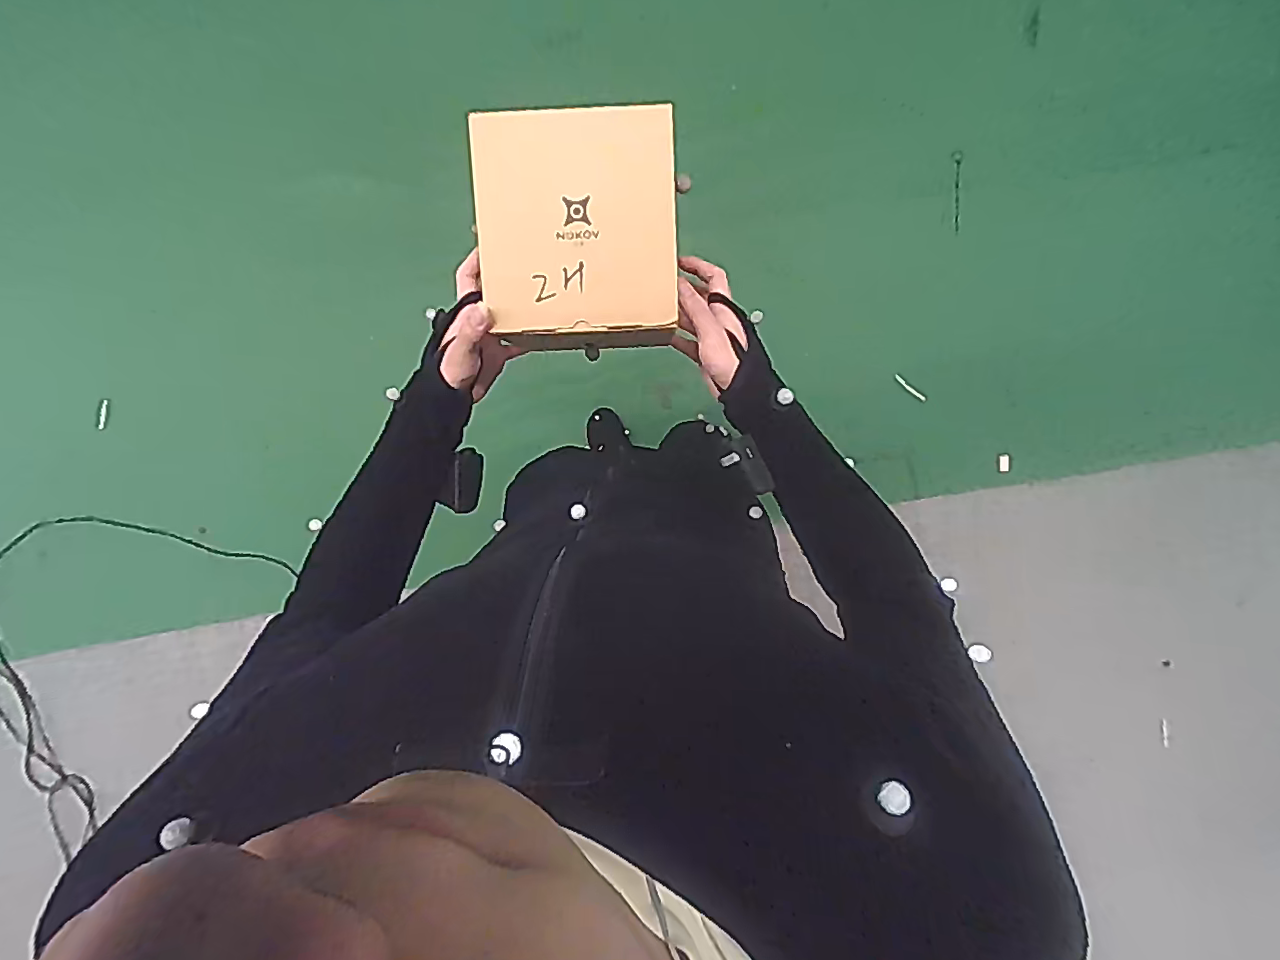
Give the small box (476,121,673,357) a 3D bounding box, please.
[{"bbox_3d":[-0.055,-0.220,0.537,0.168,0.176,0.179,-2,99,0],"label":"small box"}]
